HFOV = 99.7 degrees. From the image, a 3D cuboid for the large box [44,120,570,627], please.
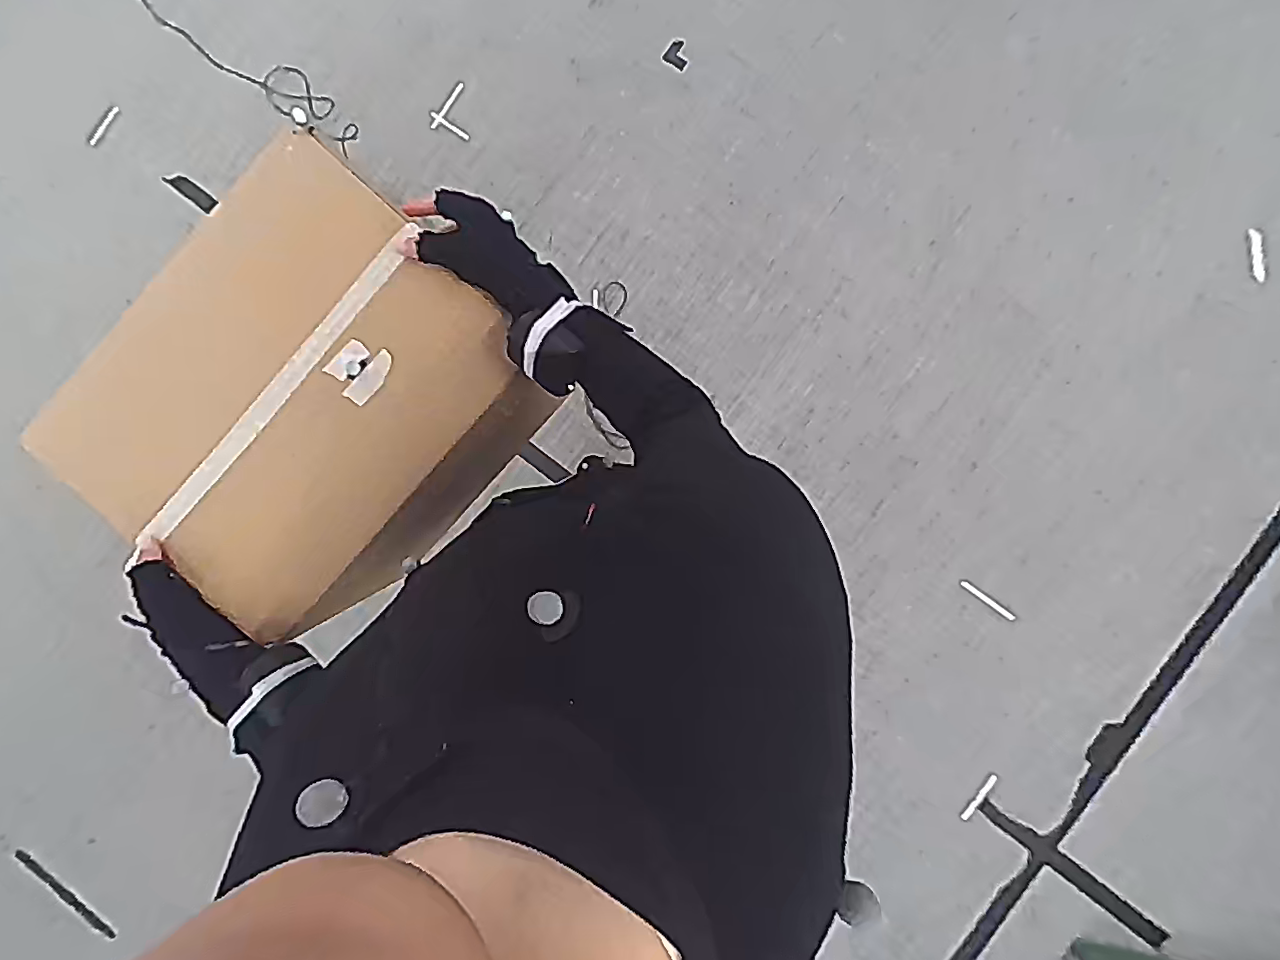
[{"bbox_3d":[-0.342,-0.103,0.674,0.320,0.320,0.408,42,91,-4],"label":"large box"}]
